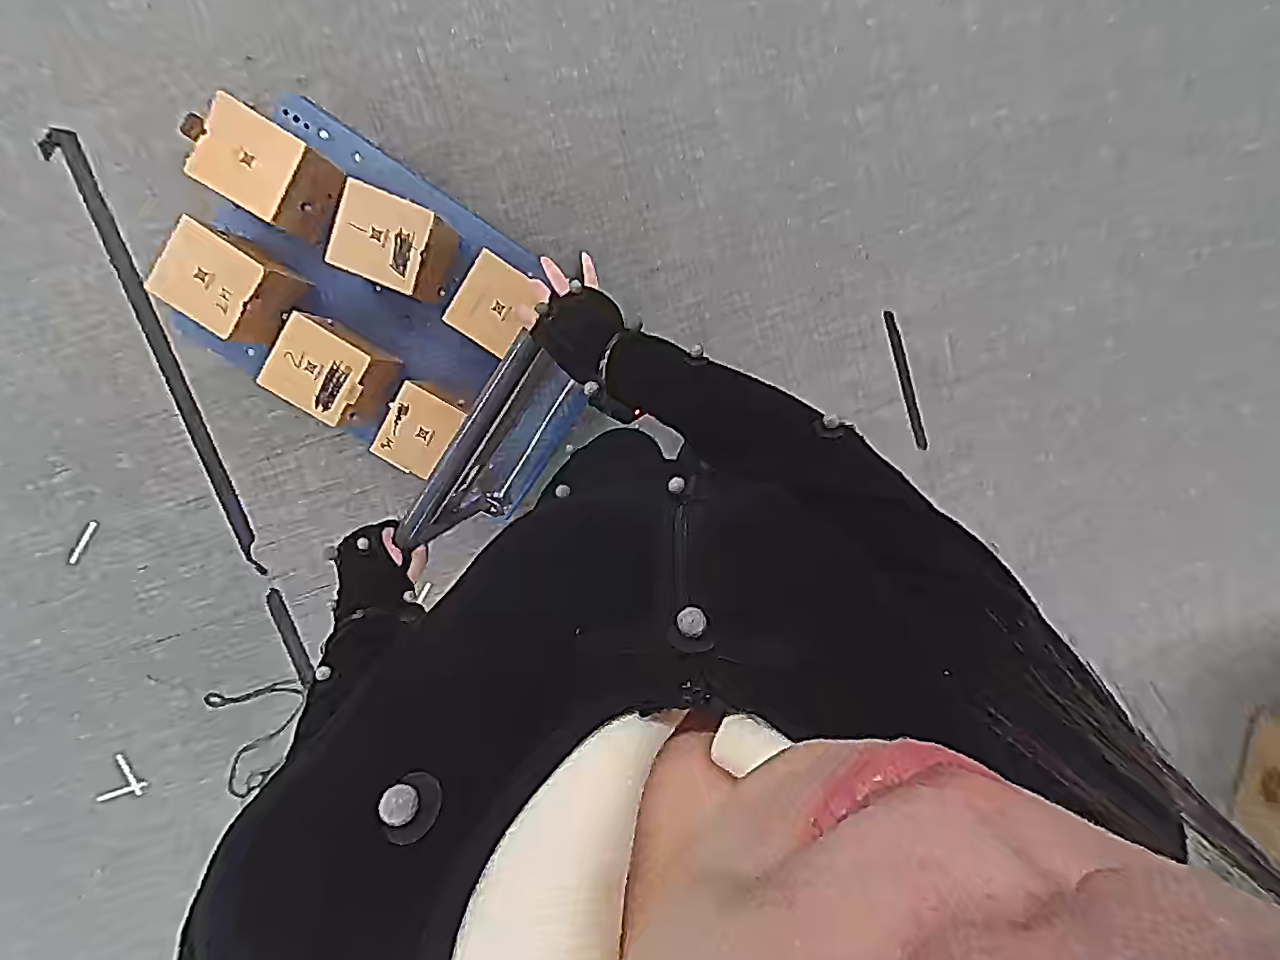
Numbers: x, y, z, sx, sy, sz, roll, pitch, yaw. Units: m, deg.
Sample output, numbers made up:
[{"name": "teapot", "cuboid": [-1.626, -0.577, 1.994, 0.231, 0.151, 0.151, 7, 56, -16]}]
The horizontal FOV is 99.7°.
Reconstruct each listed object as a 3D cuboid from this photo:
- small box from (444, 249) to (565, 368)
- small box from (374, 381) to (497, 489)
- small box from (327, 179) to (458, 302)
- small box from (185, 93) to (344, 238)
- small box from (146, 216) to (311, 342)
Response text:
[{"name": "small box", "cuboid": [-0.276, -0.355, 1.150, 0.179, 0.176, 0.168, 33, 96, -7]}, {"name": "small box", "cuboid": [-0.435, -0.105, 1.184, 0.179, 0.176, 0.168, 29, 96, -7]}, {"name": "small box", "cuboid": [-0.499, -0.480, 1.116, 0.179, 0.176, 0.168, 20, 98, -5]}, {"name": "small box", "cuboid": [-0.736, -0.611, 1.082, 0.179, 0.176, 0.168, 29, 98, -7]}, {"name": "small box", "cuboid": [-0.832, -0.399, 1.112, 0.179, 0.176, 0.168, 34, 97, -9]}]
